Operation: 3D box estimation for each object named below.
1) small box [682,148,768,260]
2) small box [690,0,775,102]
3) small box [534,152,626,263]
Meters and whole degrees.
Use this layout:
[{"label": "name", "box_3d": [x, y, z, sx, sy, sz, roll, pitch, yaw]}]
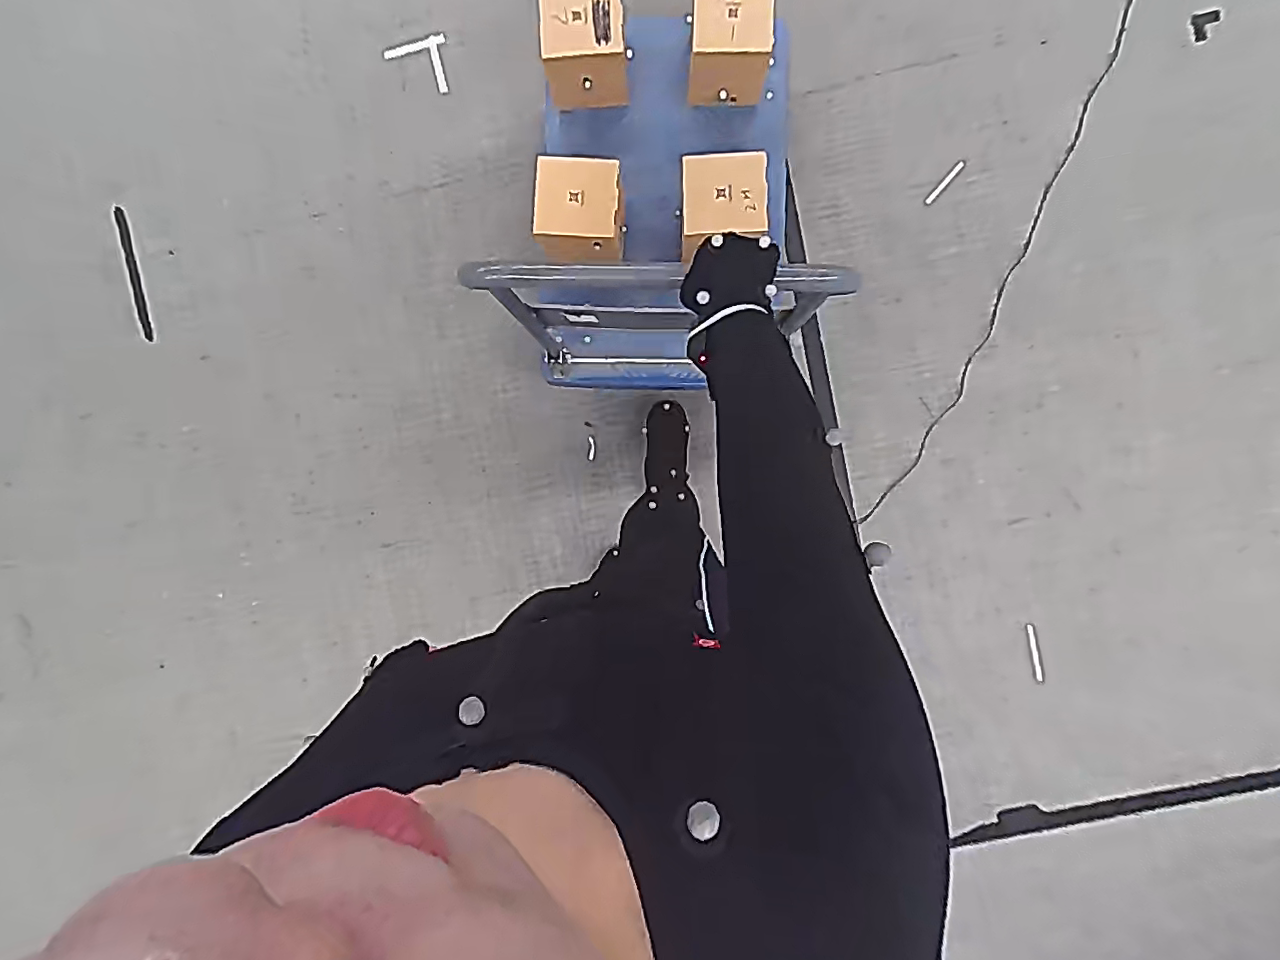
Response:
[{"label": "small box", "box_3d": [0.181, -0.600, 1.194, 0.179, 0.176, 0.168, -1, 91, 3]}, {"label": "small box", "box_3d": [0.197, -0.976, 1.186, 0.168, 0.176, 0.179, 2, 92, 2]}, {"label": "small box", "box_3d": [-0.128, -0.601, 1.210, 0.179, 0.176, 0.168, 3, 91, 1]}]
